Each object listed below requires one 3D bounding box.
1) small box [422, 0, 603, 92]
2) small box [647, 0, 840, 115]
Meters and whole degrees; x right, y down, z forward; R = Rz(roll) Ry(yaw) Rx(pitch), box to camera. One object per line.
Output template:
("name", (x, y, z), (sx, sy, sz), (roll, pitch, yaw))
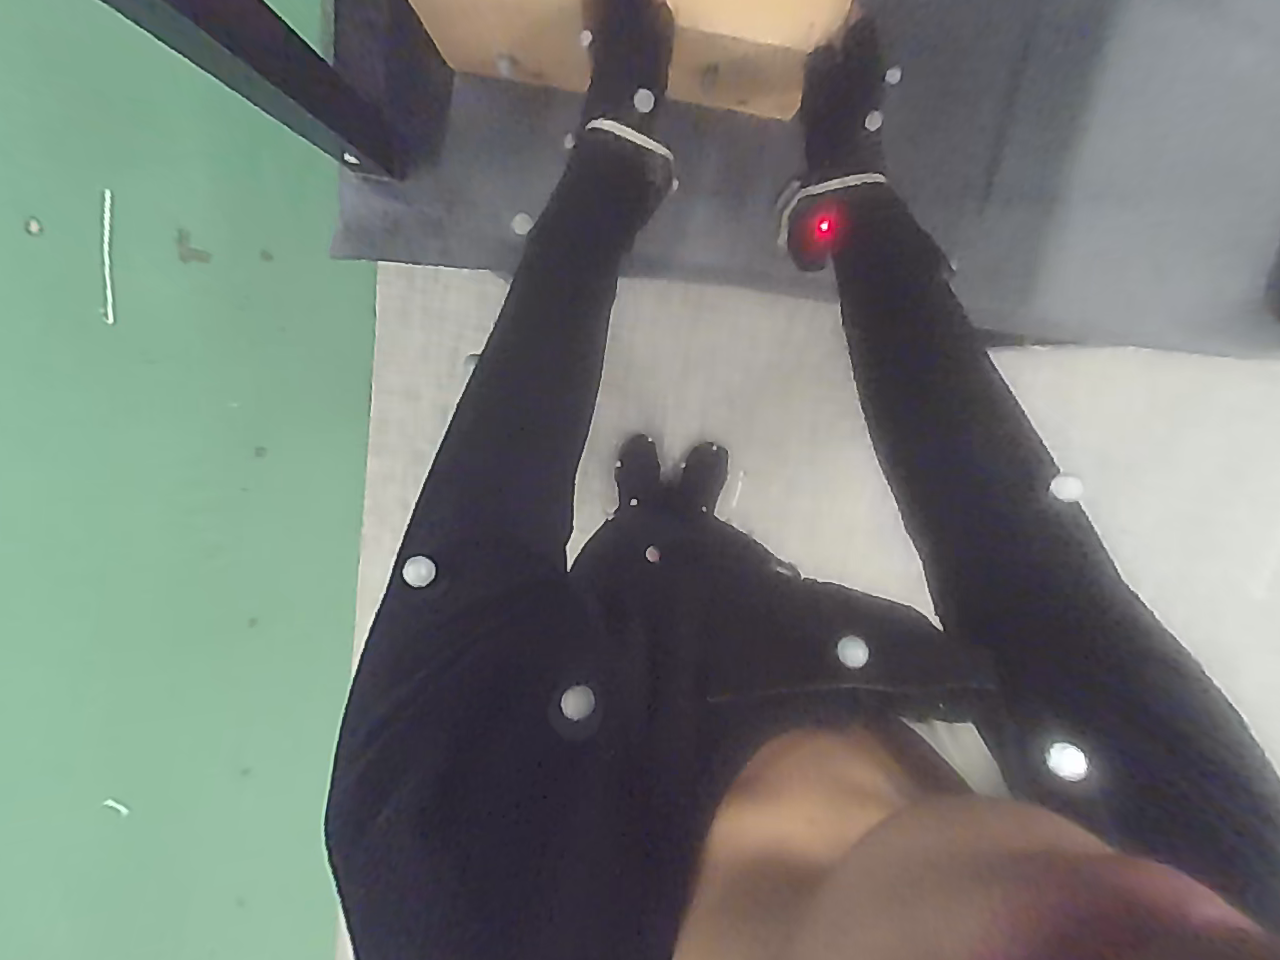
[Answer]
("small box", (-0.122, -0.523, 0.521), (0.168, 0.176, 0.179), (8, 102, -2))
("small box", (0.102, -0.490, 0.526), (0.168, 0.176, 0.179), (9, 106, -2))
